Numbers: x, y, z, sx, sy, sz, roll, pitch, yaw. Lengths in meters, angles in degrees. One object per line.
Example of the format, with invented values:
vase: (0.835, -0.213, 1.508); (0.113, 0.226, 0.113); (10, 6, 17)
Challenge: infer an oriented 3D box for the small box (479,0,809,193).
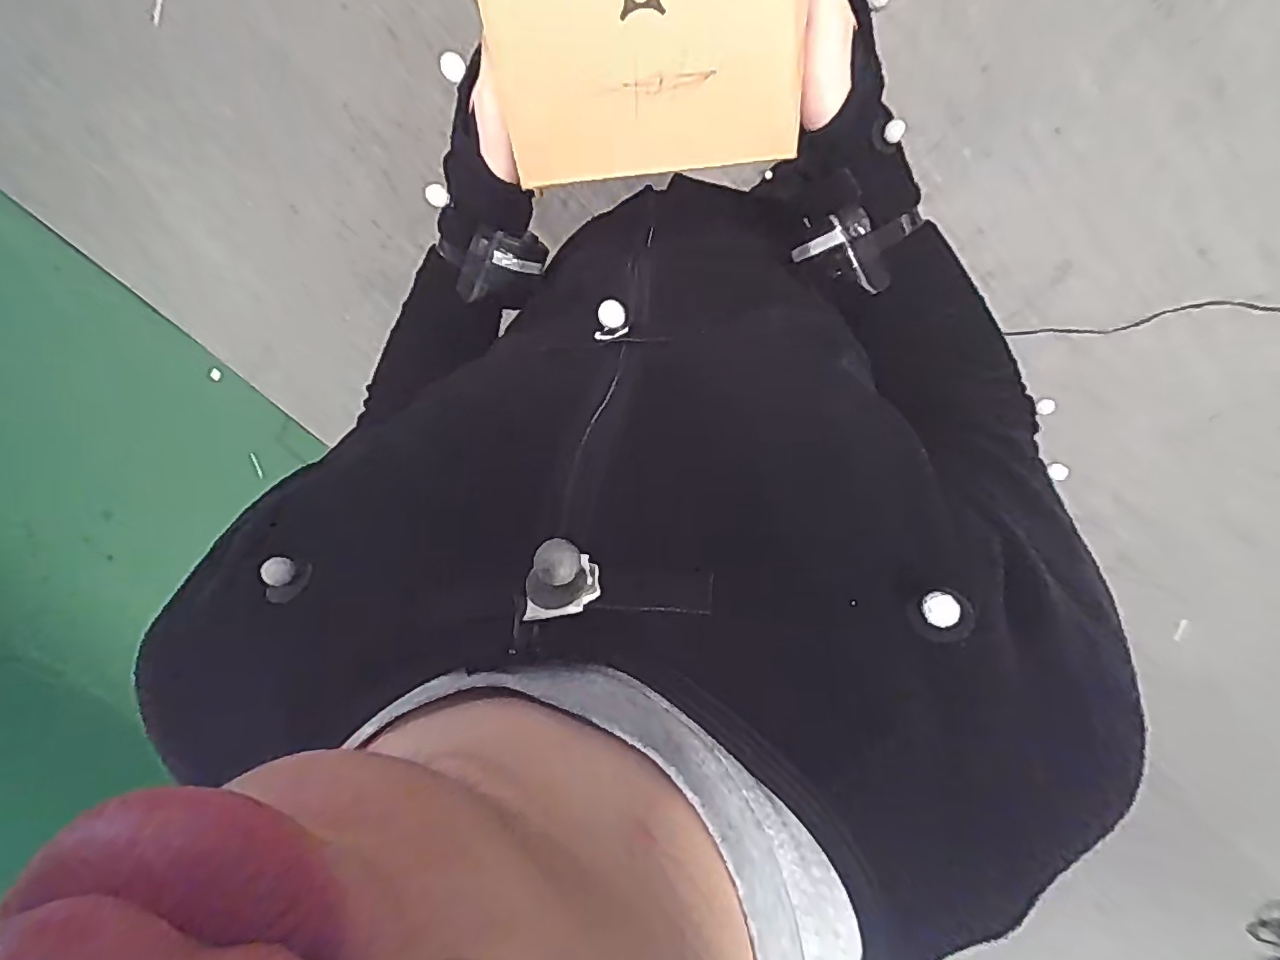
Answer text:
small box: (0.004, -0.296, 0.322); (0.168, 0.176, 0.179); (-2, 135, 6)
